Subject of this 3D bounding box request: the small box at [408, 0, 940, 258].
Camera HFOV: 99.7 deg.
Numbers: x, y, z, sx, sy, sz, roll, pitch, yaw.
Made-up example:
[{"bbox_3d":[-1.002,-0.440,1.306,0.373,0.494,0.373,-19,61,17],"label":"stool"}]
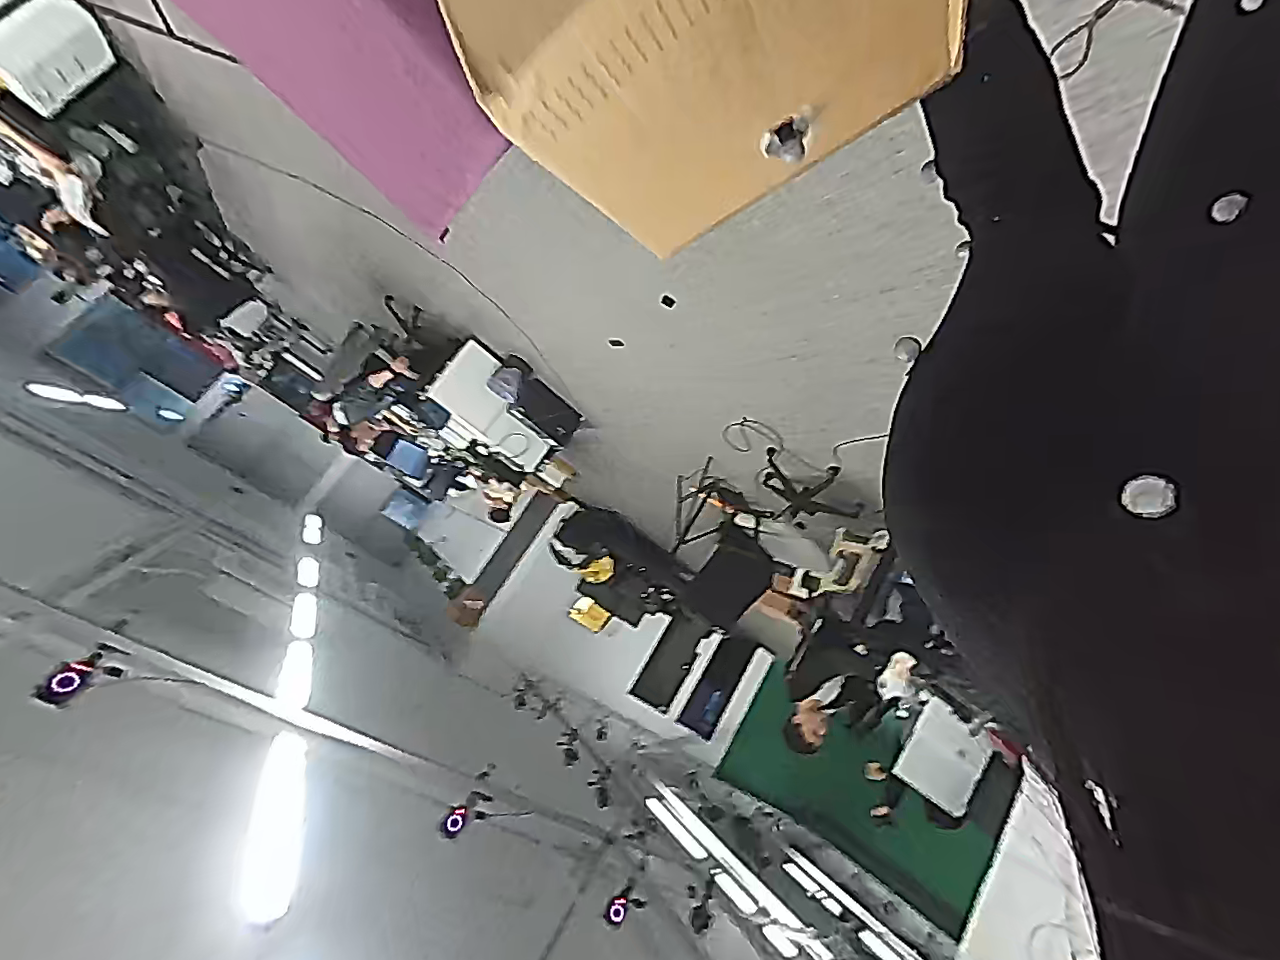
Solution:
[{"bbox_3d":[0.012,-0.240,0.243,0.179,0.168,0.176,-23,169,27],"label":"small box"}]
